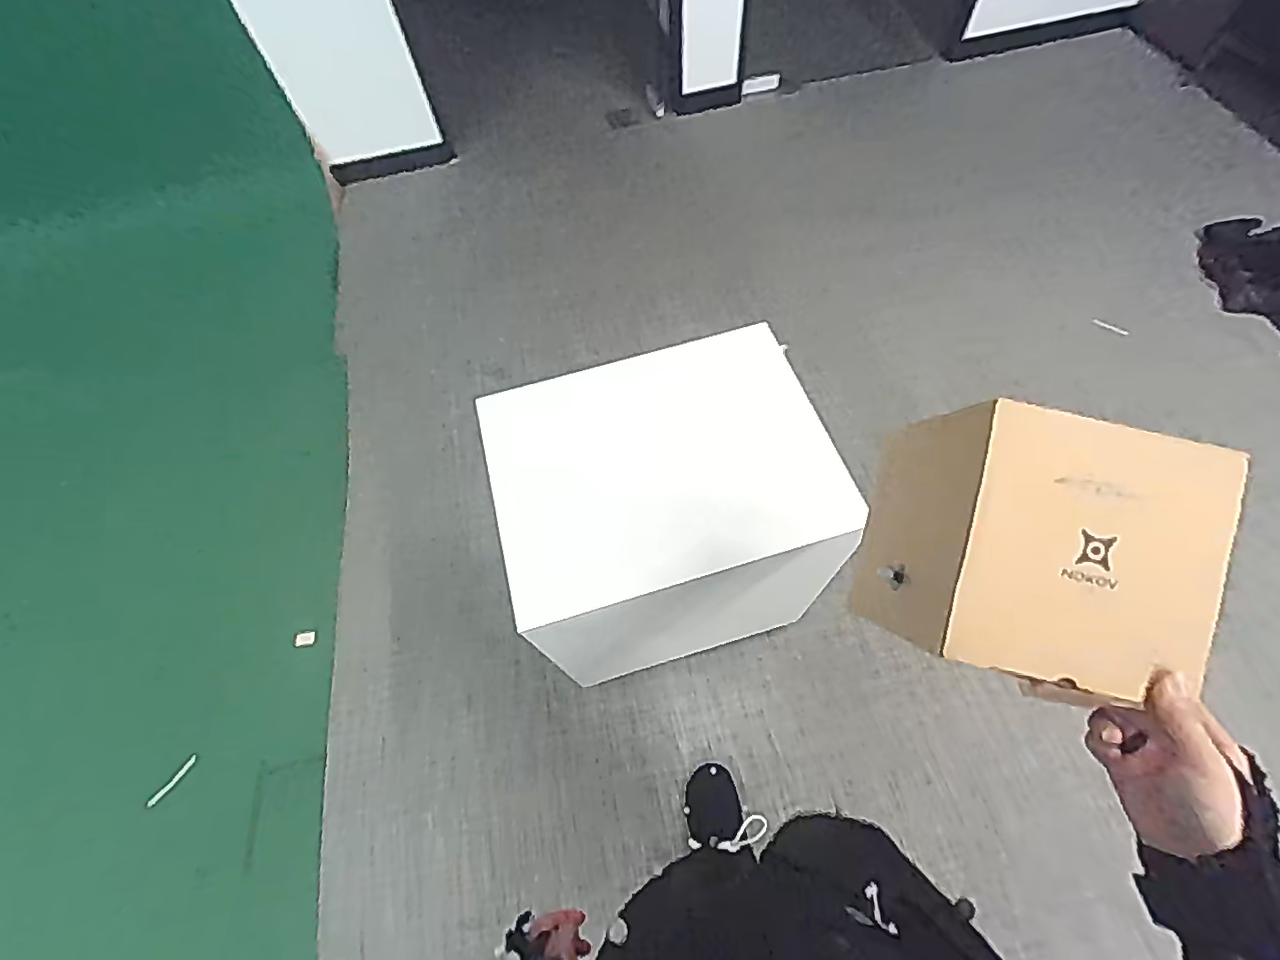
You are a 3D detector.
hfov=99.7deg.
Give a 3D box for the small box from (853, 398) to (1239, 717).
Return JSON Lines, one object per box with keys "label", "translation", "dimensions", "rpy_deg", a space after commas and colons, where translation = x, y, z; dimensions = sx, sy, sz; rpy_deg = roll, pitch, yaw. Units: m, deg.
{"label": "small box", "translation": [0.288, 0.052, 0.426], "dimensions": [0.168, 0.176, 0.179], "rpy_deg": [13, 87, 1]}
